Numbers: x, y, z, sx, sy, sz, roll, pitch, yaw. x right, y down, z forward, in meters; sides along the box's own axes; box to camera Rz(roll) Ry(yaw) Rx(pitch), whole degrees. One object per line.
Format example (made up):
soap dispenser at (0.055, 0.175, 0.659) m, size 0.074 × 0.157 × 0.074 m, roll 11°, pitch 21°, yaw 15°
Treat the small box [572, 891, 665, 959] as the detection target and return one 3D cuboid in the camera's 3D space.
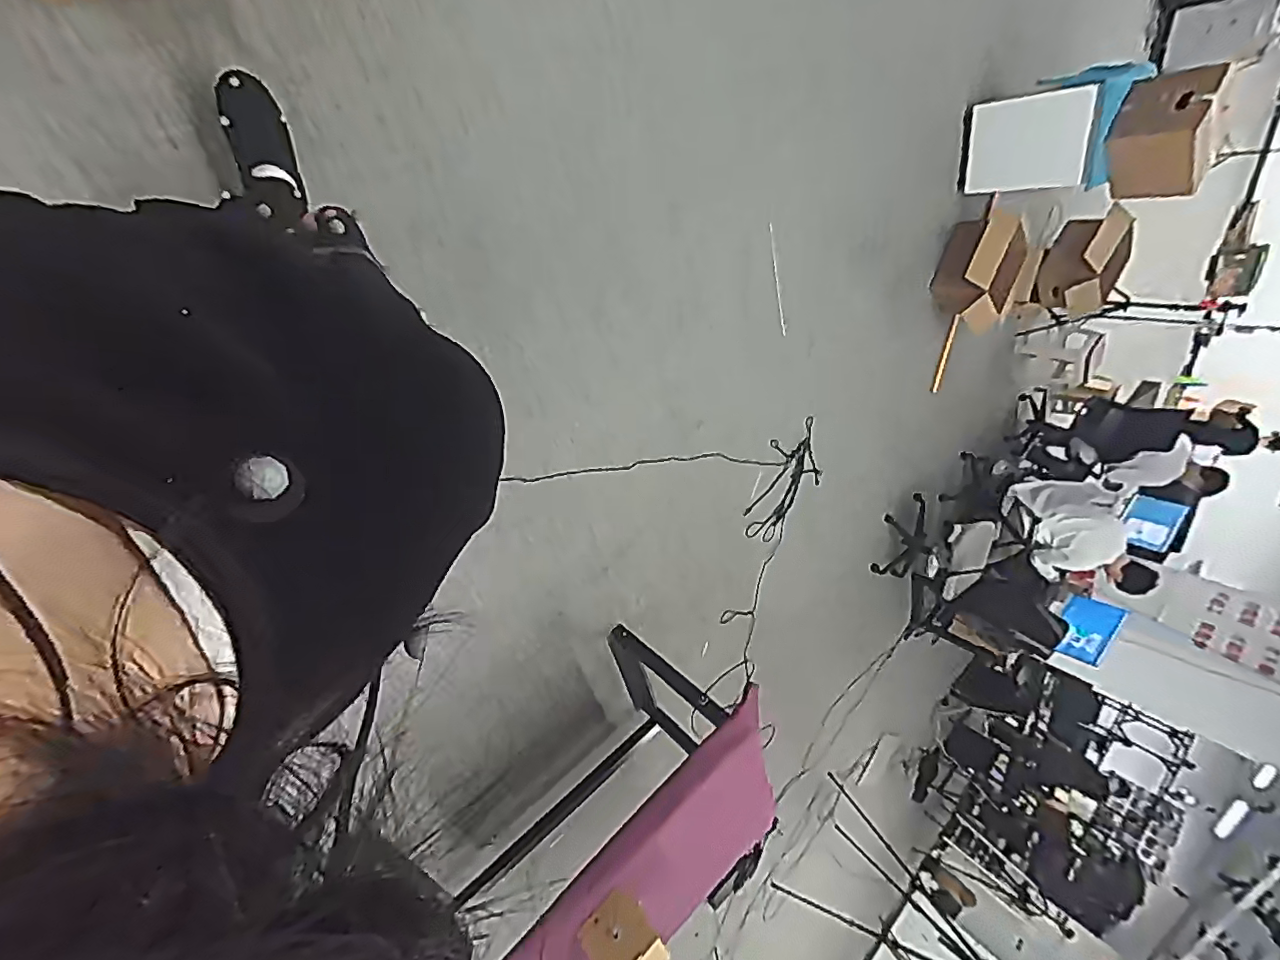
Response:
small box at (-0.060, 1.272, 1.466) m, size 0.168 × 0.176 × 0.179 m, roll -33°, pitch 128°, yaw -26°
